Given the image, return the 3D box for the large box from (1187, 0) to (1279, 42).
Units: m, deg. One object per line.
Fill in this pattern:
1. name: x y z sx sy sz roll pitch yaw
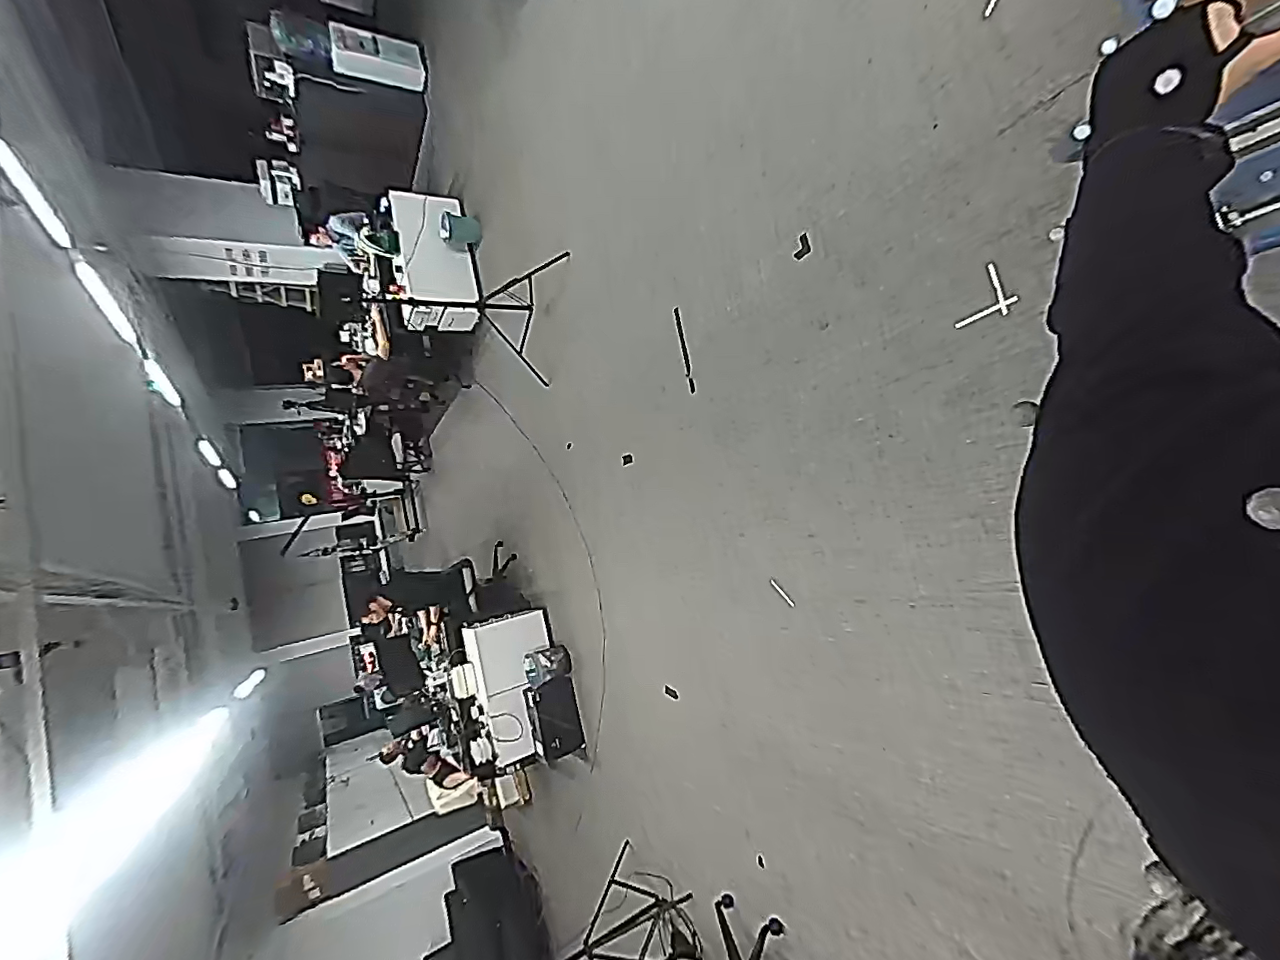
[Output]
1. large box: 0.919 -0.853 0.636 0.408 0.320 0.320 -11 87 60
